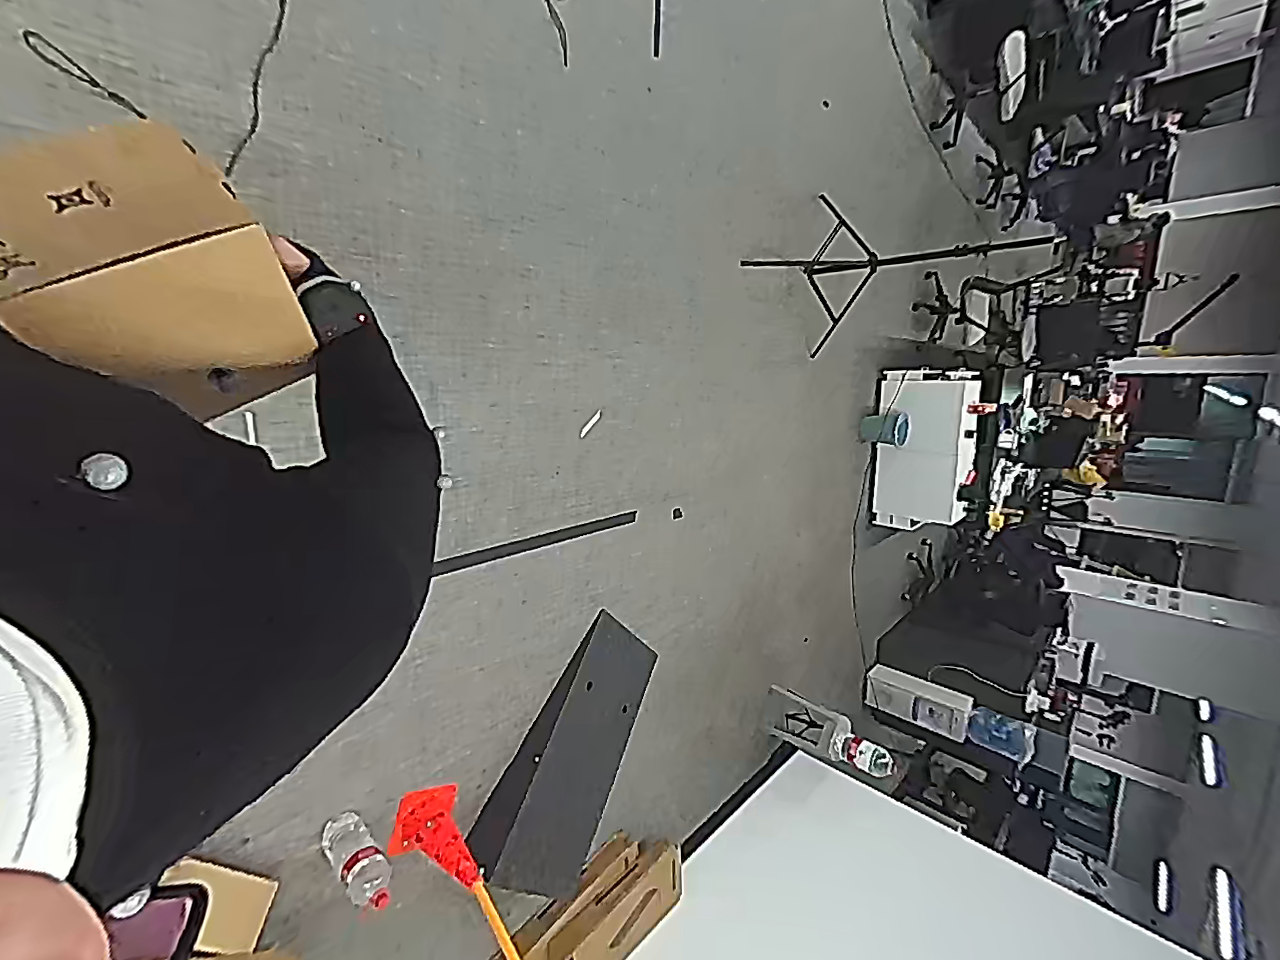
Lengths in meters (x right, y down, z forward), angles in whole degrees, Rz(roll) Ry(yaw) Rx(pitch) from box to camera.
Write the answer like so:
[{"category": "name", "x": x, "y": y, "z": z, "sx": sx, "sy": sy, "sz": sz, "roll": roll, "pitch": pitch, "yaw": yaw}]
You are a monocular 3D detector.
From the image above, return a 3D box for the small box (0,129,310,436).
[{"category": "small box", "x": -0.435, "y": -0.175, "z": 0.491, "sx": 0.179, "sy": 0.168, "sz": 0.176, "roll": -37, "pitch": 161, "yaw": -28}]
